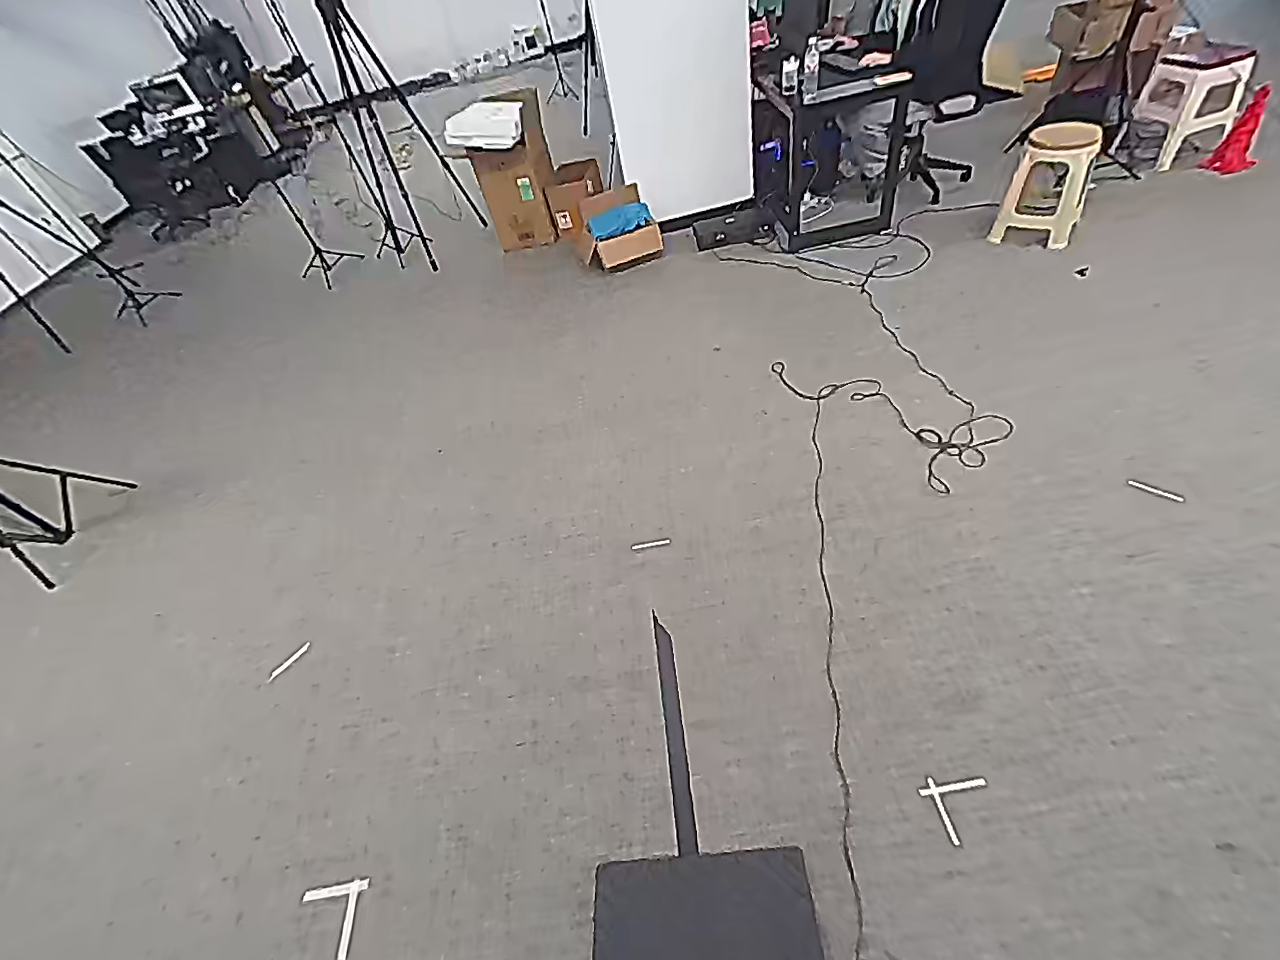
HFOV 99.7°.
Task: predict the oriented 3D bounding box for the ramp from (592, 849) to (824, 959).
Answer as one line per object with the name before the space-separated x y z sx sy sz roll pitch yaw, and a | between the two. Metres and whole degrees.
ramp | 0.138 1.194 0.883 0.509 0.206 0.991 -11 45 6
